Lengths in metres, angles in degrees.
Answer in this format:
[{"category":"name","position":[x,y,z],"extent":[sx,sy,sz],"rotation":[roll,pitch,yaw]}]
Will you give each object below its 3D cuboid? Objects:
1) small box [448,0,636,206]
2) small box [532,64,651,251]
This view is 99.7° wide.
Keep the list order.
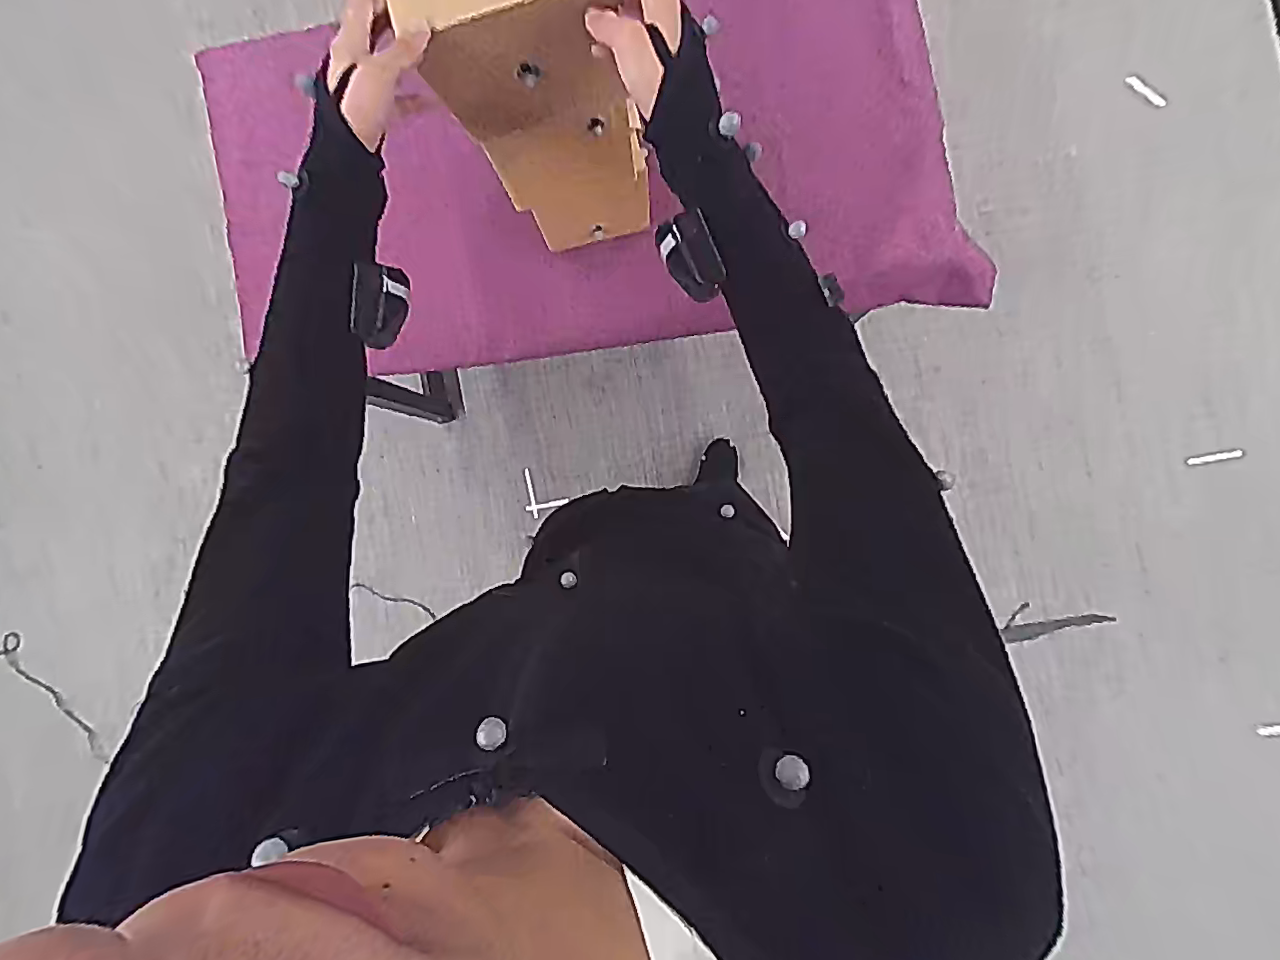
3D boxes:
[{"category":"small box","position":[-0.109,-0.472,0.672],"extent":[0.179,0.176,0.168],"rotation":[-13,88,2]},{"category":"small box","position":[-0.085,-0.483,0.834],"extent":[0.179,0.176,0.168],"rotation":[-13,88,2]}]
